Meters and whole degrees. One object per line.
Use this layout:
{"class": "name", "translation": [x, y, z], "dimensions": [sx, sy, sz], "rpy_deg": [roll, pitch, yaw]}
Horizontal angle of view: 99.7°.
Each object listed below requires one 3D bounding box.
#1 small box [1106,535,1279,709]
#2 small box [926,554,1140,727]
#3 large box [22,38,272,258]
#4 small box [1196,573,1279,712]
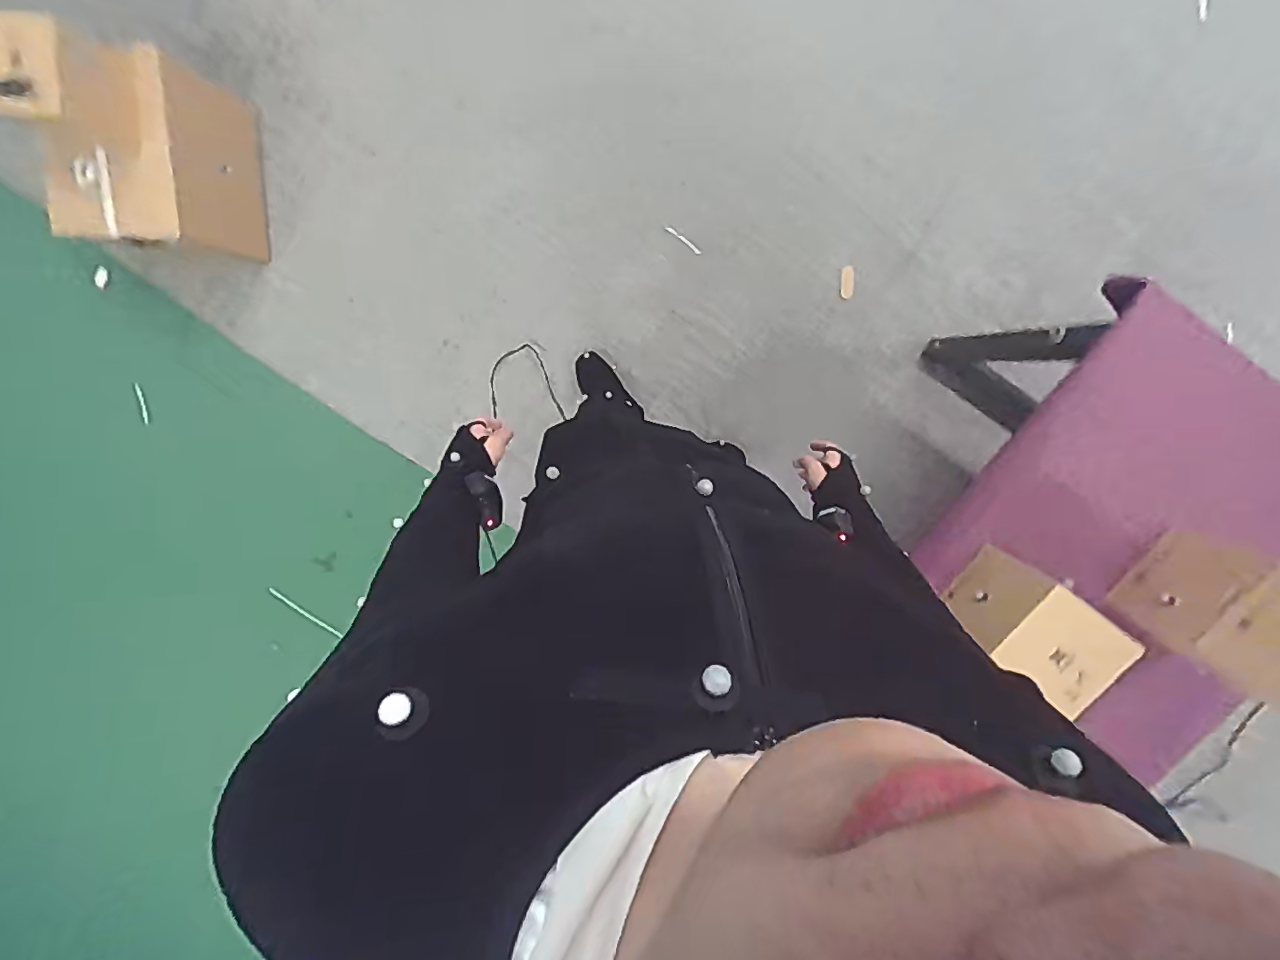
{"class": "small box", "translation": [0.898, 0.205, 0.840], "dimensions": [0.179, 0.176, 0.168], "rpy_deg": [35, 102, -6]}
{"class": "small box", "translation": [0.599, 0.237, 0.853], "dimensions": [0.179, 0.176, 0.168], "rpy_deg": [36, 102, -7]}
{"class": "large box", "translation": [-1.204, -0.807, 1.369], "dimensions": [0.320, 0.320, 0.408], "rpy_deg": [3, 103, 2]}
{"class": "small box", "translation": [0.890, 0.236, 0.681], "dimensions": [0.179, 0.176, 0.168], "rpy_deg": [34, 102, -6]}
